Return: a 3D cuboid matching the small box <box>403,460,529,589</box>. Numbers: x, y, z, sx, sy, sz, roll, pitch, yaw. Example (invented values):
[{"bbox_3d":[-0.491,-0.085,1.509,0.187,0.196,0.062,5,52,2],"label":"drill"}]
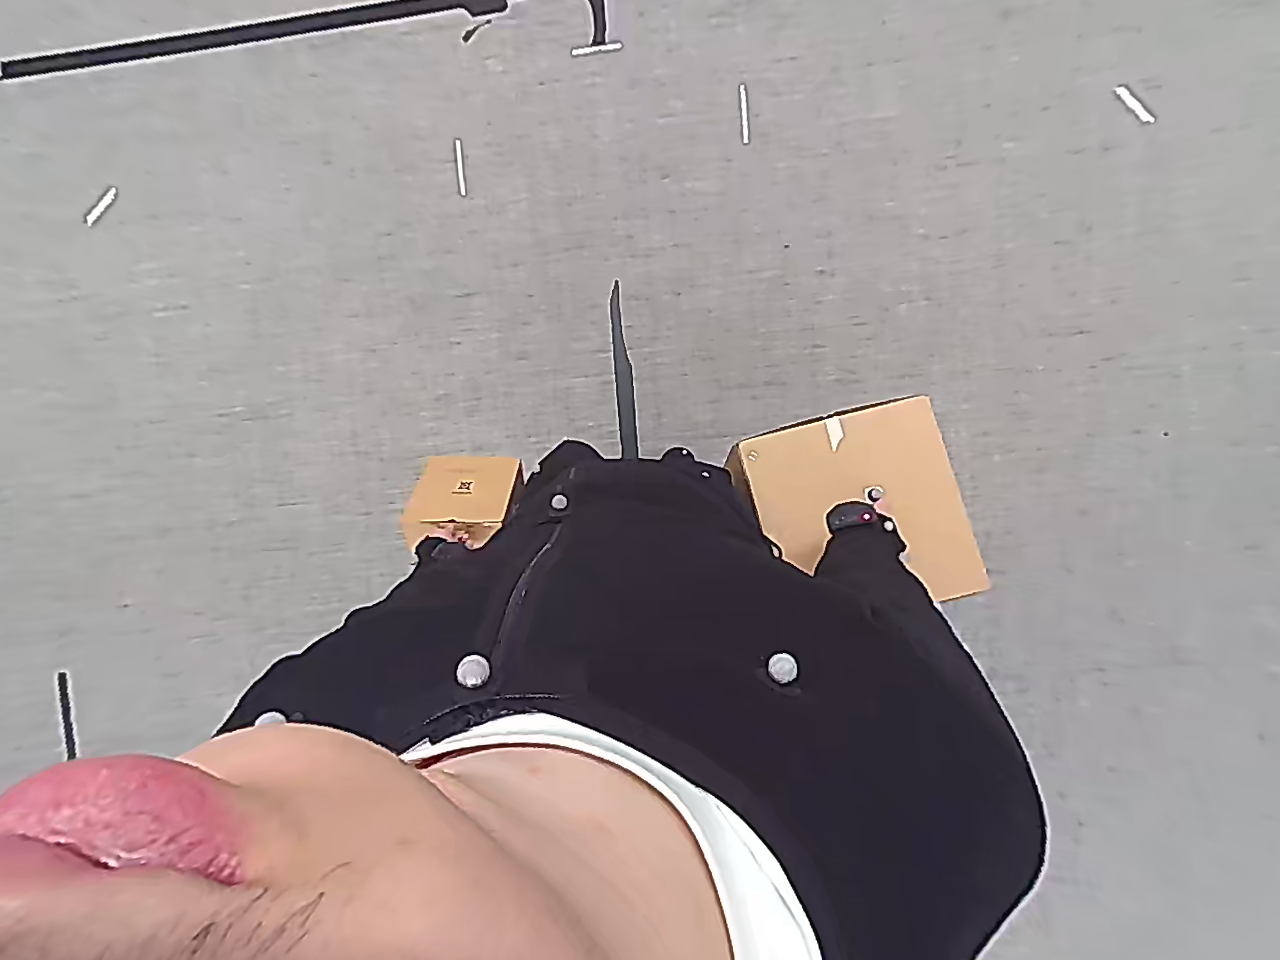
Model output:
[{"bbox_3d":[-0.302,0.081,0.981,0.168,0.179,0.176,1,129,-1],"label":"small box"}]
